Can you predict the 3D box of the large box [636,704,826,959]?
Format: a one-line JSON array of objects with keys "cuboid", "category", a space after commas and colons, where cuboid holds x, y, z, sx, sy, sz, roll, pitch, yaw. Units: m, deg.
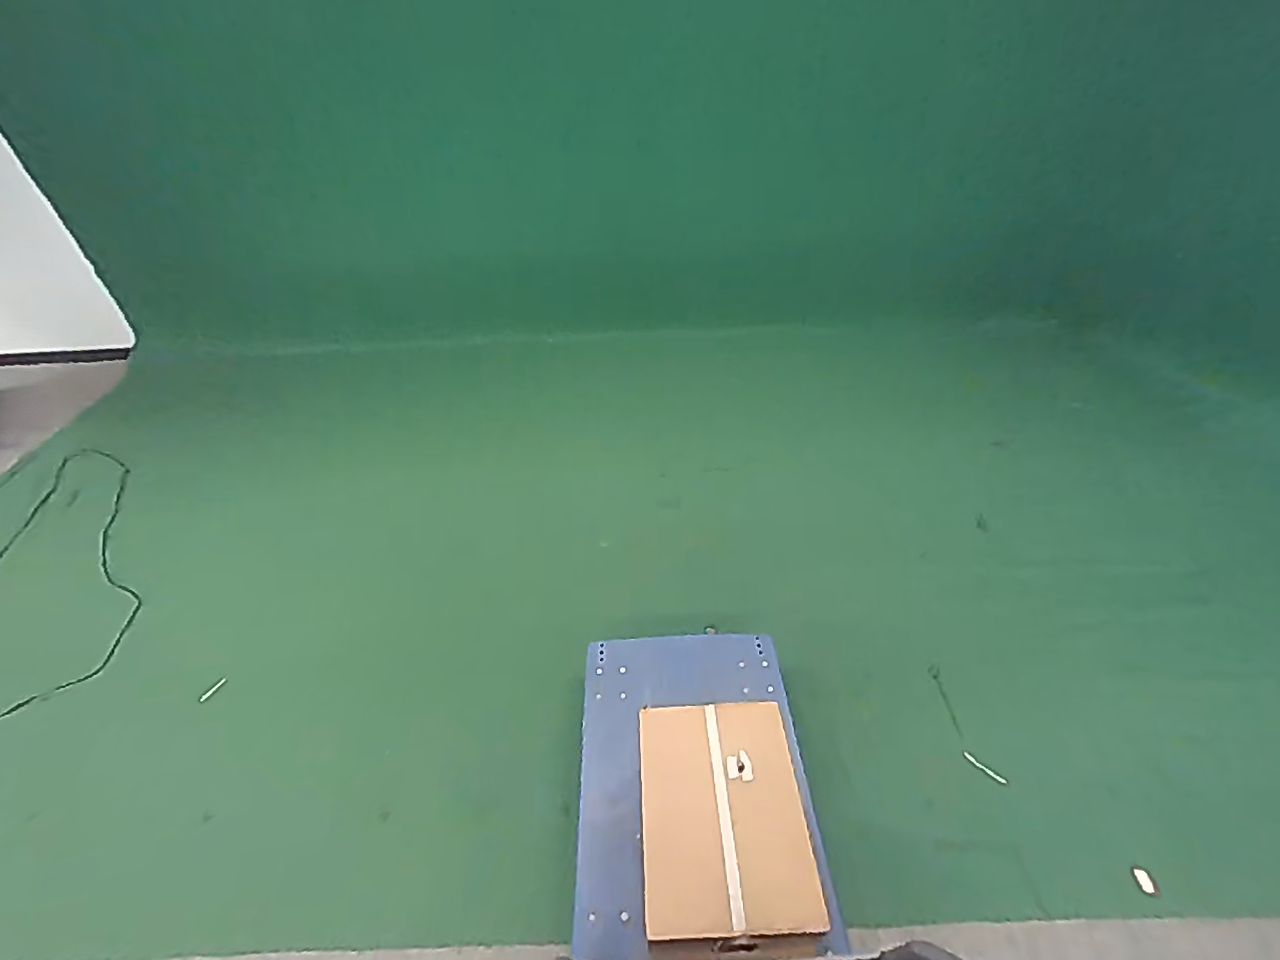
[{"cuboid": [0.160, 0.753, 1.152, 0.320, 0.320, 0.408, -2, 39, -1], "category": "large box"}]
